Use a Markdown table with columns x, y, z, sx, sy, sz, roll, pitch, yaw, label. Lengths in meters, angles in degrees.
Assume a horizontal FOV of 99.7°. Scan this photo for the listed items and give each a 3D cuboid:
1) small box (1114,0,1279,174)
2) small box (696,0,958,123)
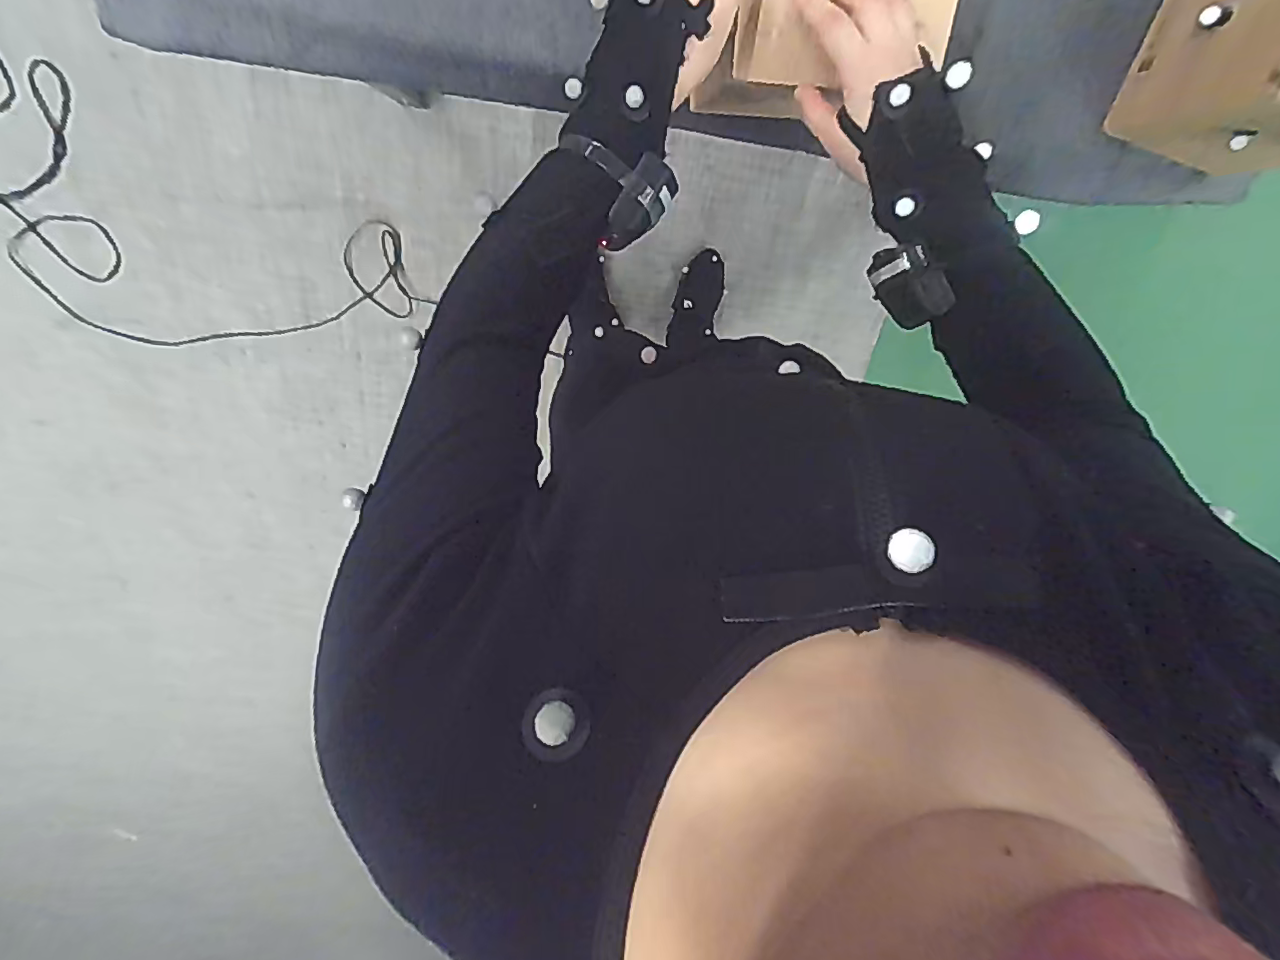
| x | y | z | sx | sy | sz | roll | pitch | yaw | label |
| --- | --- | --- | --- | --- | --- | --- | --- | --- | --- |
| 0.633 | -0.414 | 0.525 | 0.179 | 0.176 | 0.168 | 10 | 112 | -11 | small box |
| 0.150 | -0.417 | 0.466 | 0.179 | 0.176 | 0.168 | -1 | 119 | -6 | small box |
